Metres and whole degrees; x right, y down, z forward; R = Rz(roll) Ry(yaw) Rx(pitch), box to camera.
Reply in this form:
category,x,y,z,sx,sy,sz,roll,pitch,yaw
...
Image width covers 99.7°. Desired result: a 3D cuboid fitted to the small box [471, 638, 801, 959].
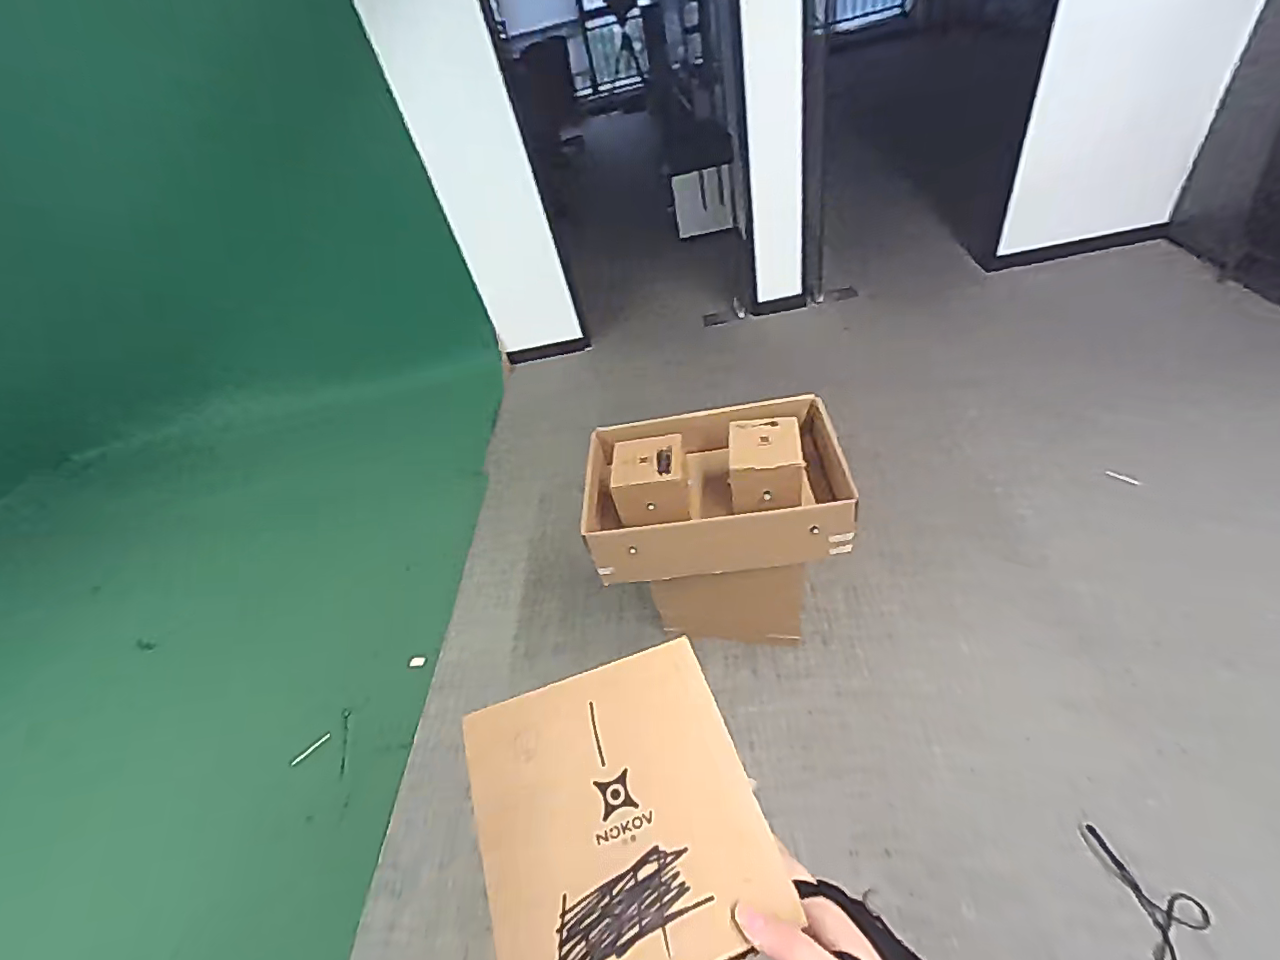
category,x,y,z,sx,sy,sz,roll,pitch,yaw
small box,-0.011,0.248,0.397,0.168,0.176,0.179,-15,54,-12
